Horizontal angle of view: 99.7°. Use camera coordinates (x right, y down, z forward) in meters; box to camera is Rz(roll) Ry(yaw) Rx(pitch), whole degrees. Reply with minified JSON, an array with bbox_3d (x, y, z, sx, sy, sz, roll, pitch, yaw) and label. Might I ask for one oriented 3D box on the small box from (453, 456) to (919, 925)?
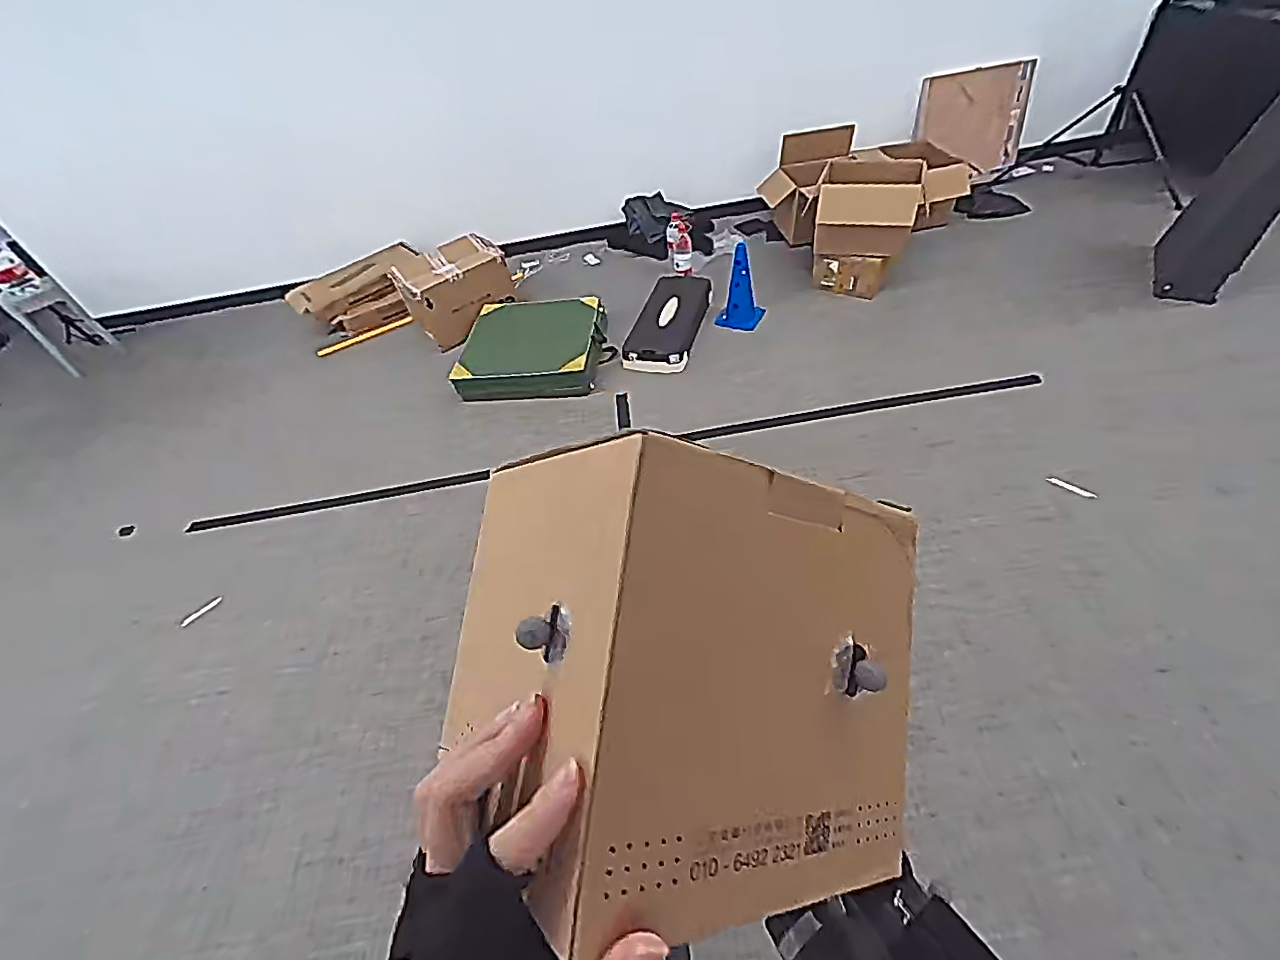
[{"bbox_3d":[0.016,0.093,0.285,0.179,0.168,0.176,-8,71,57],"label":"small box"}]
